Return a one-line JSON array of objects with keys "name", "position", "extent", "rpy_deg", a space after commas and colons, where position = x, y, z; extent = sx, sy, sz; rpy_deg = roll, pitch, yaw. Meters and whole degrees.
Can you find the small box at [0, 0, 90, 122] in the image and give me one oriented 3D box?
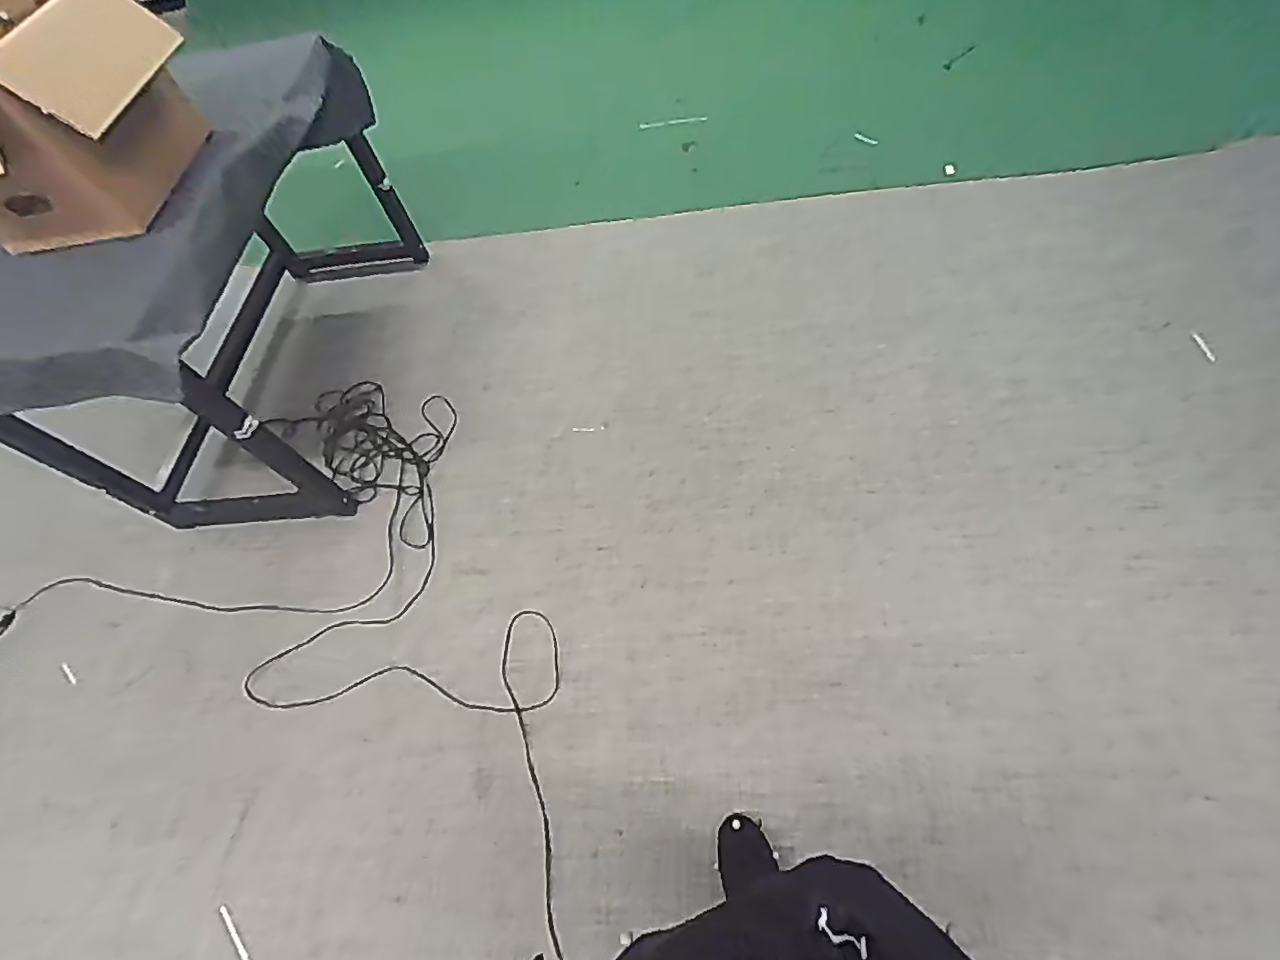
[{"name": "small box", "position": [-1.210, -0.805, 1.014], "extent": [0.168, 0.176, 0.179], "rpy_deg": [-5, 60, 6]}]
